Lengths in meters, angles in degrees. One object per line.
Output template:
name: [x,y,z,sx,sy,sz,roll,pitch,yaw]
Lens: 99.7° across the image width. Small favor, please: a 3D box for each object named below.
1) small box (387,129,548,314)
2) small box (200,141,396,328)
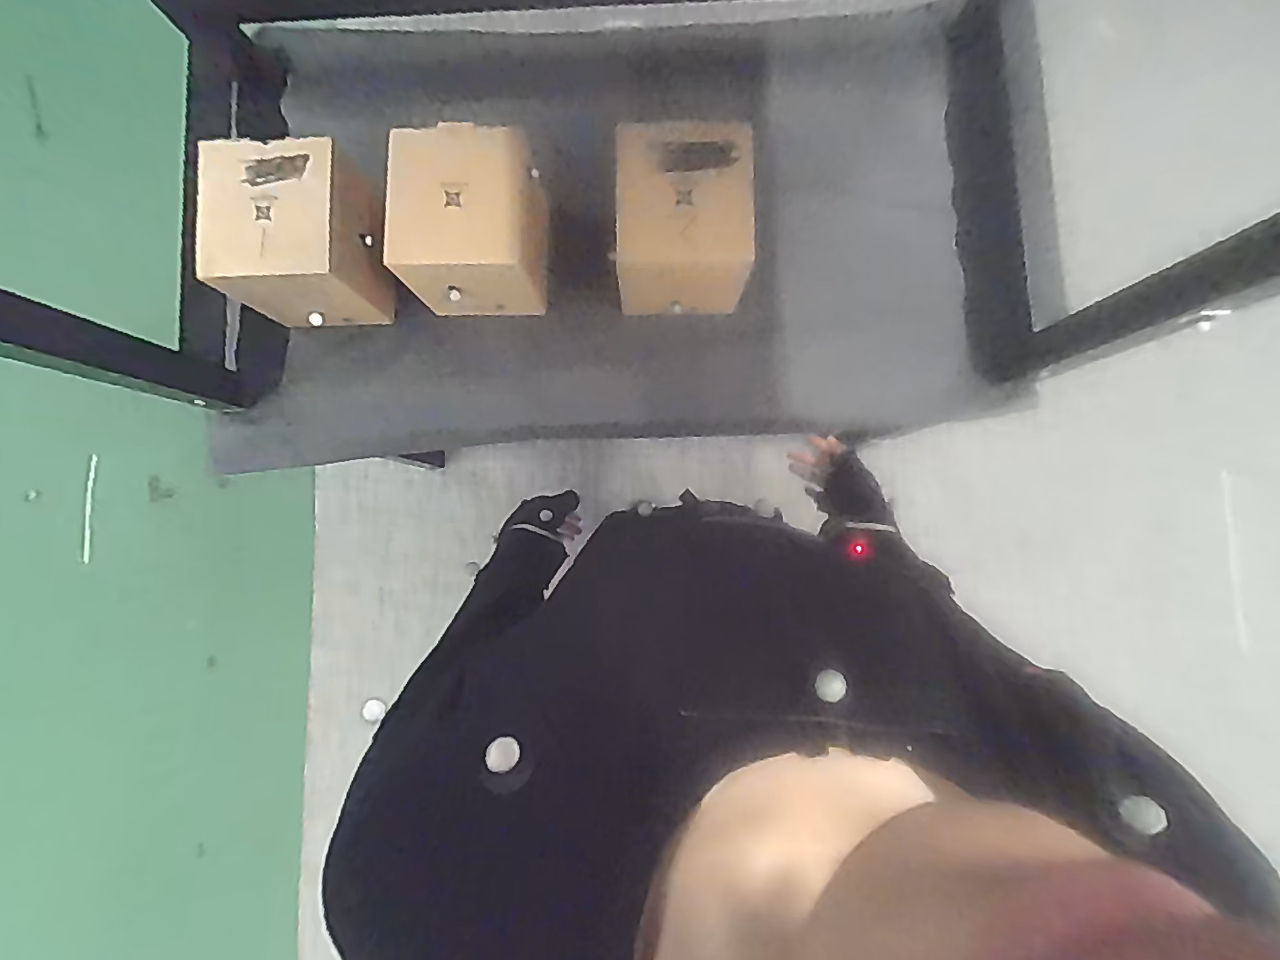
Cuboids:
small box: [-0.222,-0.337,0.738,0.168,0.176,0.179,0,84,1]
small box: [-0.449,-0.324,0.739,0.168,0.176,0.179,-2,85,1]
